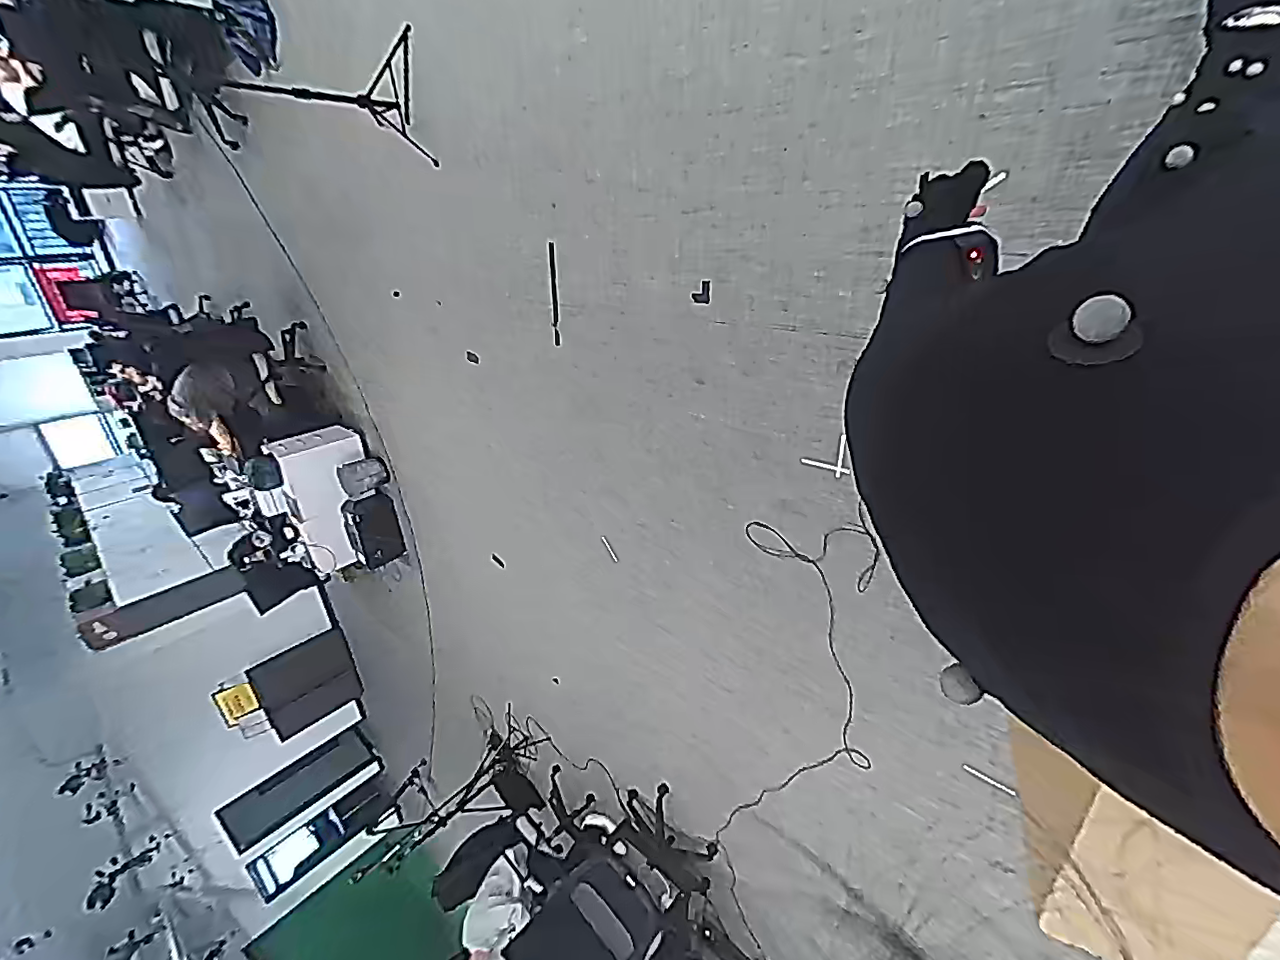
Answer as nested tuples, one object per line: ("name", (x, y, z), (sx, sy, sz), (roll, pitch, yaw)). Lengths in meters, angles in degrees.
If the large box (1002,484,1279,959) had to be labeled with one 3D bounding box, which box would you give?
("large box", (0.634, 0.262, 0.599), (0.320, 0.320, 0.408), (8, 117, 23))
